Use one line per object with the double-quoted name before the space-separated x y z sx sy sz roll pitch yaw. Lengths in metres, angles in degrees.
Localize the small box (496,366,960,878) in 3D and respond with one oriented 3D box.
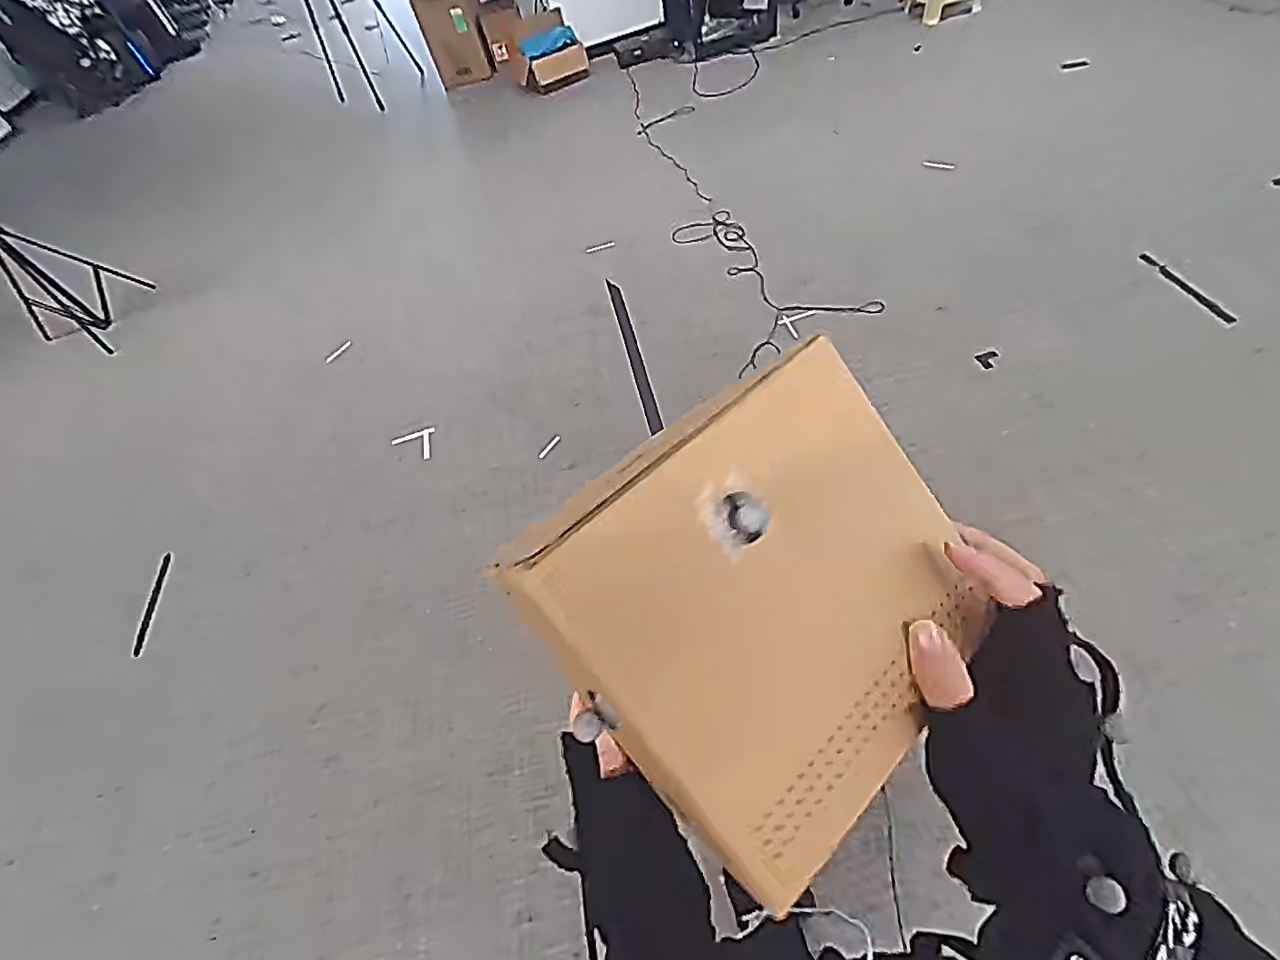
"small box" 0.039 0.070 0.316 0.179 0.168 0.176 -38 94 -18
